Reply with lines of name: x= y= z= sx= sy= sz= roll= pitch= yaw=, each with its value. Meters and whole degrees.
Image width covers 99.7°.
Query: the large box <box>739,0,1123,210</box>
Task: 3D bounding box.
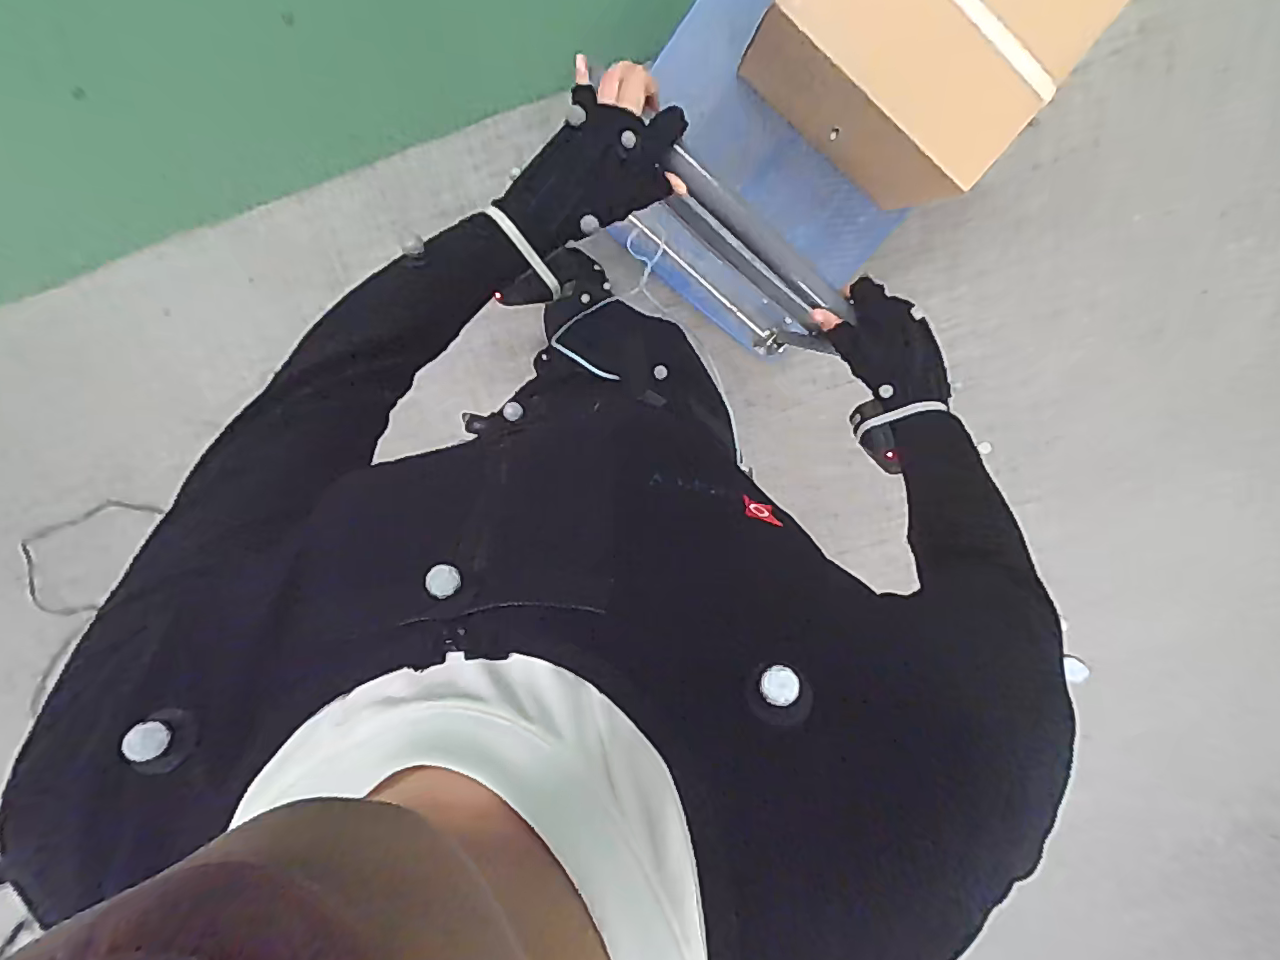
large box: x=0.431 y=-0.719 z=0.895 sx=0.408 sy=0.320 sz=0.320 roll=35 pitch=107 yaw=-12
